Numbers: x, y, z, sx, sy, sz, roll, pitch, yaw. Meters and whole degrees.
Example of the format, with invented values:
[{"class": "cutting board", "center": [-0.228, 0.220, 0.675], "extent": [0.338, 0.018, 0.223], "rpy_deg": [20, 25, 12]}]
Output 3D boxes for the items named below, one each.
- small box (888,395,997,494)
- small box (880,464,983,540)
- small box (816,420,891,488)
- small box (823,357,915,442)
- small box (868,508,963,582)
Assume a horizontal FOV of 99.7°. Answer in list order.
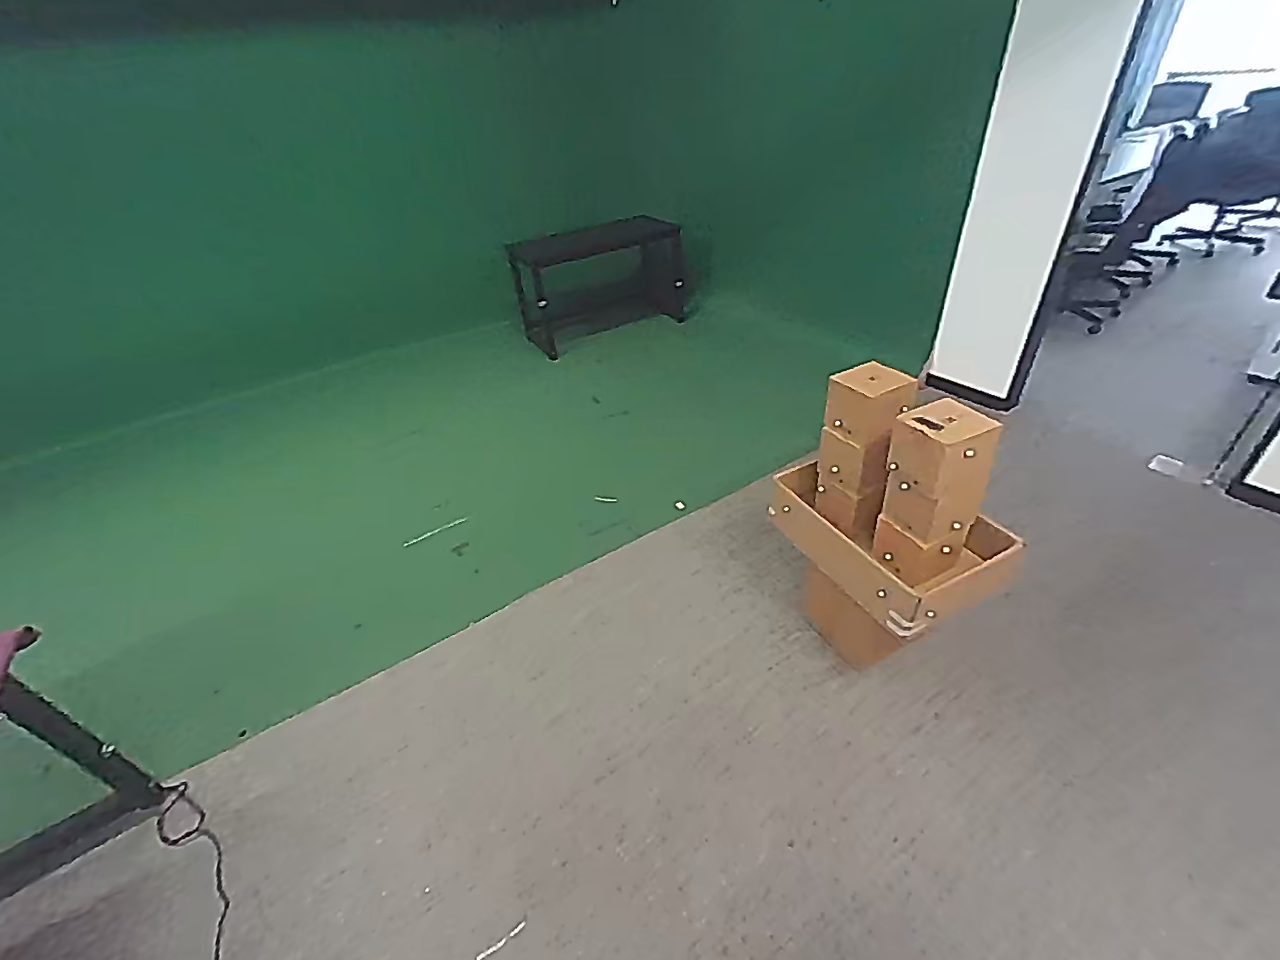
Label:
[{"class": "small box", "center": [0.763, -0.089, 1.387], "extent": [0.179, 0.176, 0.168], "rpy_deg": [-19, 40, -14]}, {"class": "small box", "center": [0.794, 0.034, 1.494], "extent": [0.179, 0.176, 0.168], "rpy_deg": [-19, 39, -16]}, {"class": "small box", "center": [0.670, -0.103, 1.680], "extent": [0.179, 0.176, 0.168], "rpy_deg": [-22, 41, -20]}, {"class": "small box", "center": [0.663, -0.237, 1.587], "extent": [0.179, 0.176, 0.168], "rpy_deg": [-21, 40, -19]}, {"class": "small box", "center": [0.800, 0.167, 1.591], "extent": [0.179, 0.176, 0.168], "rpy_deg": [-21, 40, -17]}]
